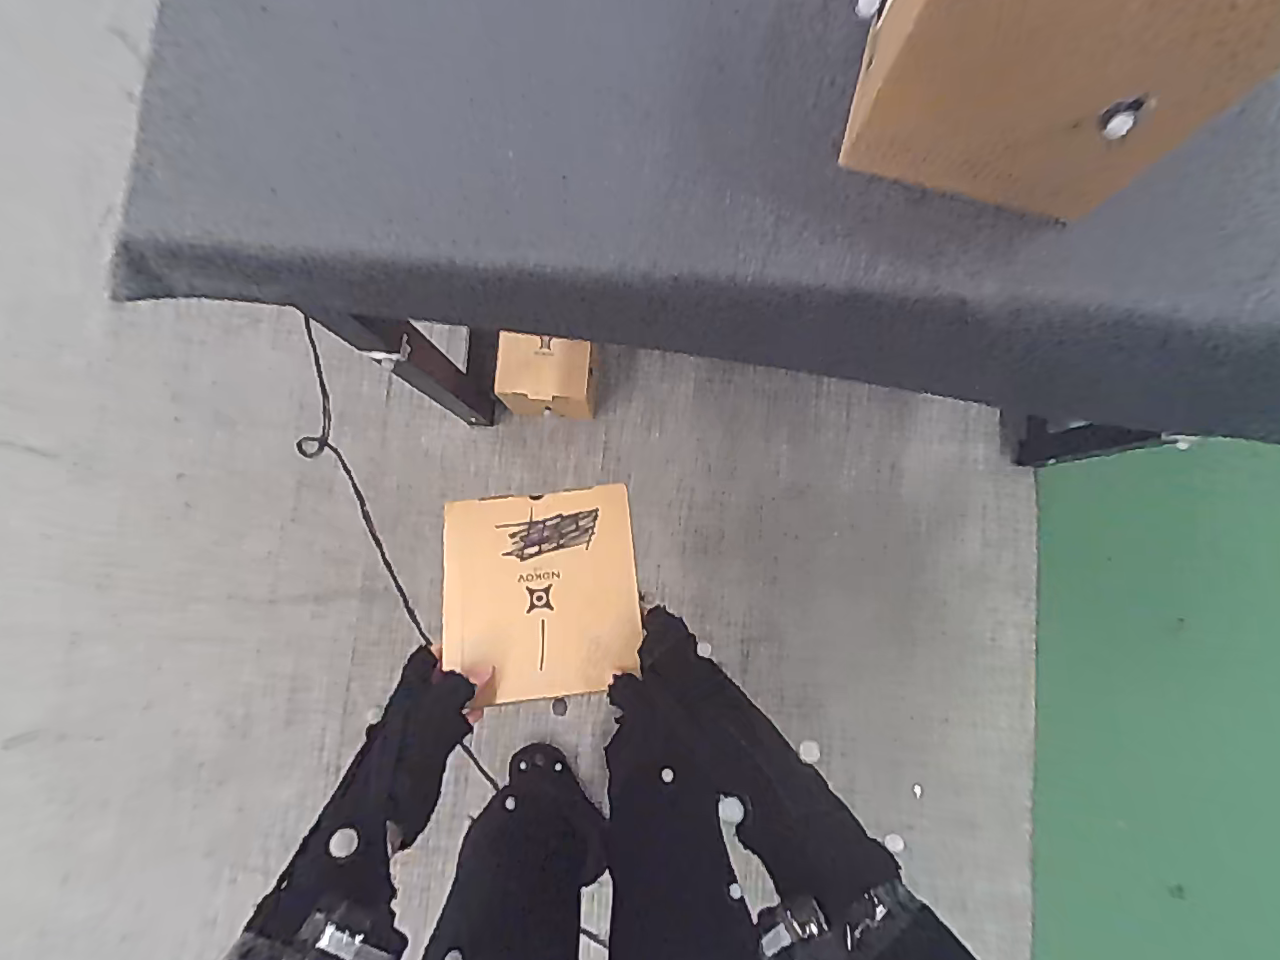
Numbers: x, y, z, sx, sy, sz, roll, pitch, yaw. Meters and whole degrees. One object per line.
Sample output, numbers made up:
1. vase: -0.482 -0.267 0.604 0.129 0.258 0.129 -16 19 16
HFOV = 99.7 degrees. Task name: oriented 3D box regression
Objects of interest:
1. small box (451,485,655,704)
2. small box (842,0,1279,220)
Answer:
1. small box: -0.079 0.121 0.537 0.168 0.176 0.179 -6 70 -2
2. small box: 0.251 -0.291 0.328 0.179 0.176 0.168 13 82 2
